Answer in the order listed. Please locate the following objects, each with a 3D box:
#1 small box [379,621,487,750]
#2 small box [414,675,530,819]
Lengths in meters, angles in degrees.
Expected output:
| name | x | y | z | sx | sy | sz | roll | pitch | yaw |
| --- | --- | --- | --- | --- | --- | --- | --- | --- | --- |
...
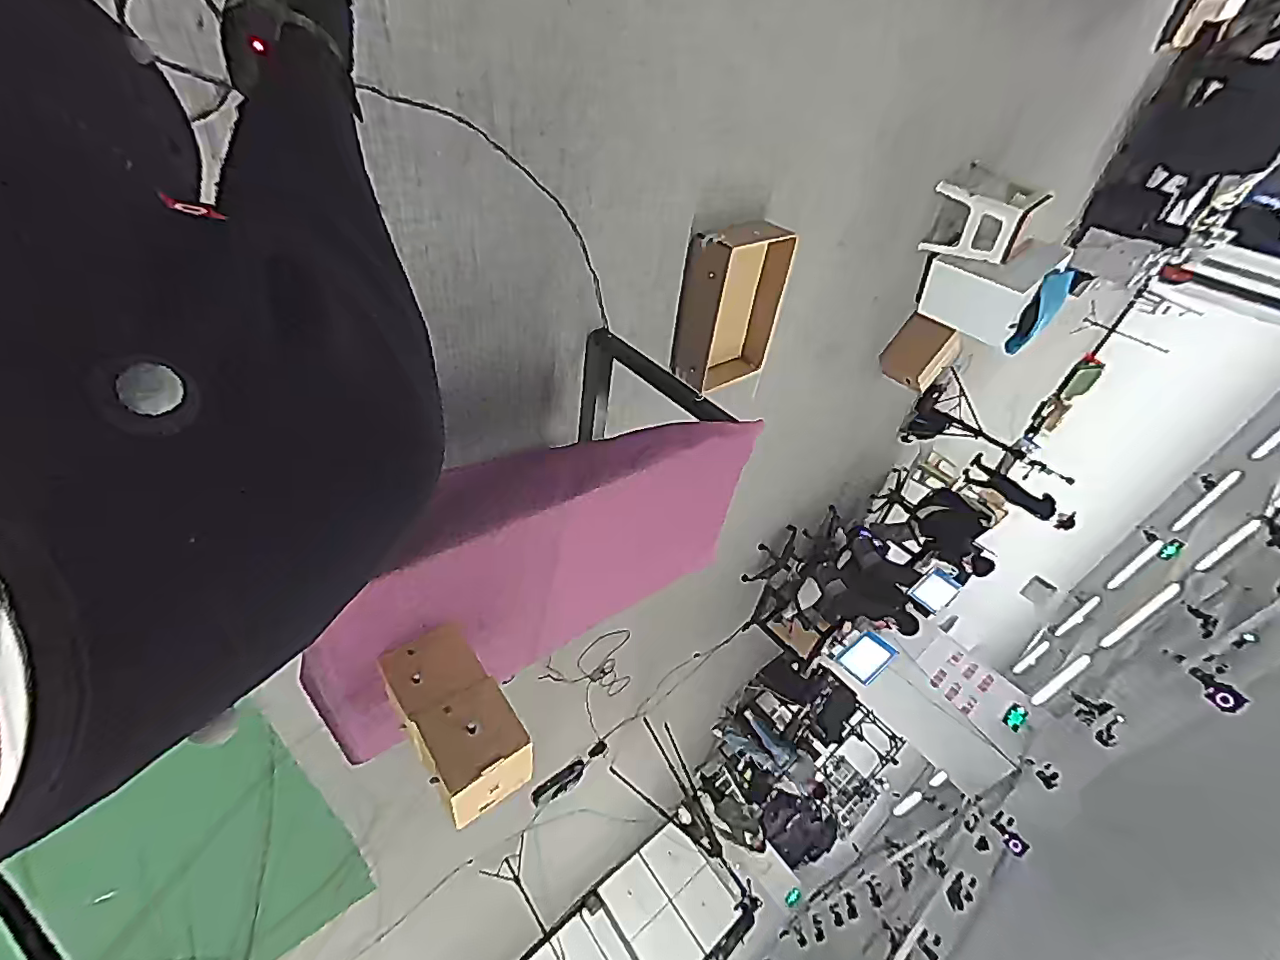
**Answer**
| name | x | y | z | sx | sy | sz | roll | pitch | yaw |
| --- | --- | --- | --- | --- | --- | --- | --- | --- | --- |
| small box | -0.443 | 0.430 | 1.164 | 0.168 | 0.176 | 0.179 | -23 | 141 | -34 |
| small box | -0.335 | 0.522 | 1.081 | 0.168 | 0.176 | 0.179 | -22 | 139 | -34 |
